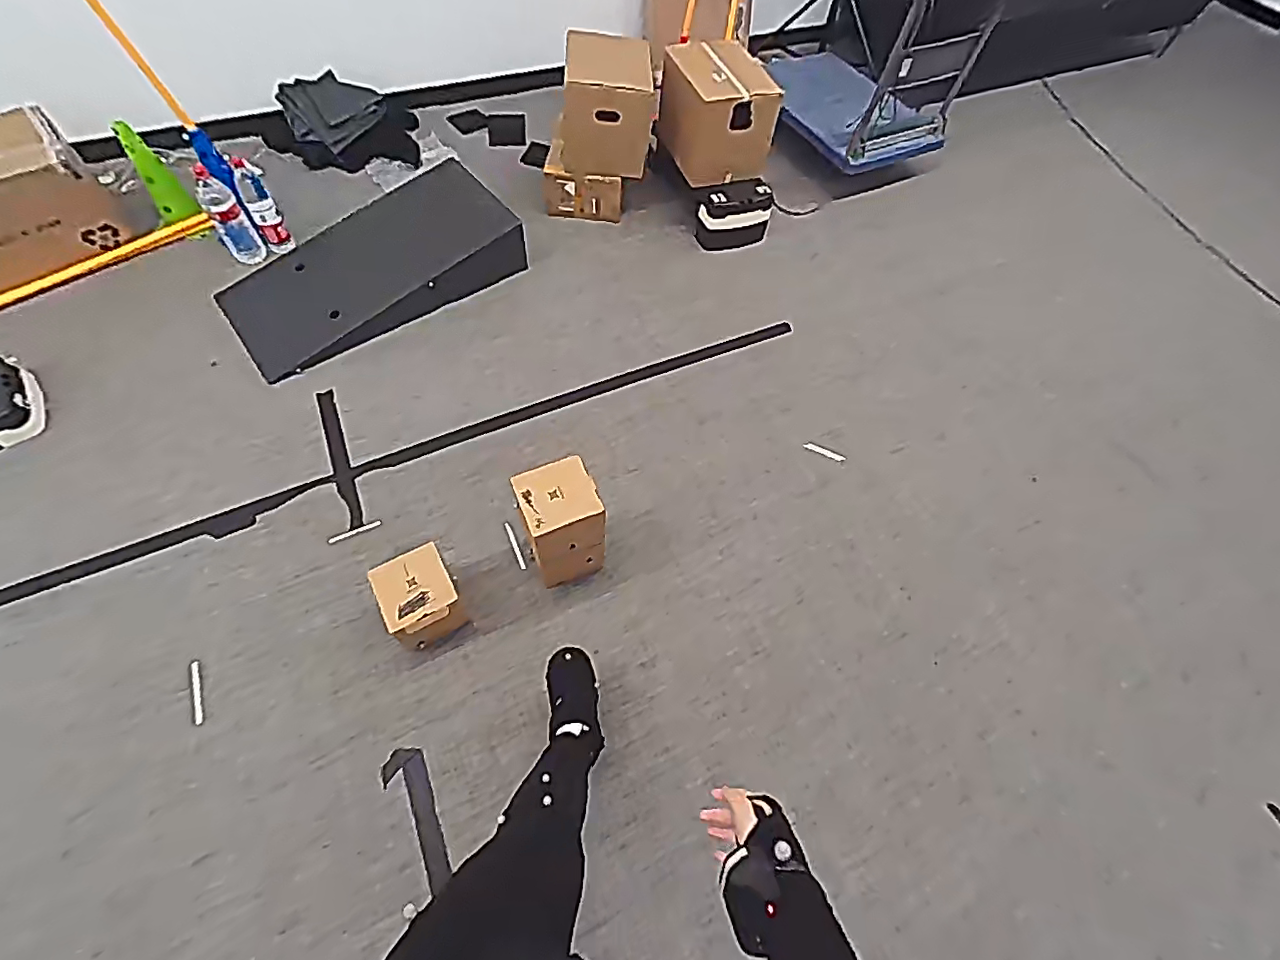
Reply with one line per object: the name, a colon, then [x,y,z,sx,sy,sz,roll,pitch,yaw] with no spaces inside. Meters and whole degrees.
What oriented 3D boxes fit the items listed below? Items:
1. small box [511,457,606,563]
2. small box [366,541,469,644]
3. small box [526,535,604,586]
small box: [-0.195,0.075,1.300,0.179,0.176,0.168,-19,62,-16]
small box: [-0.542,0.287,1.334,0.168,0.176,0.179,-26,65,-18]
small box: [-0.205,0.159,1.440,0.179,0.176,0.168,-18,63,-14]
